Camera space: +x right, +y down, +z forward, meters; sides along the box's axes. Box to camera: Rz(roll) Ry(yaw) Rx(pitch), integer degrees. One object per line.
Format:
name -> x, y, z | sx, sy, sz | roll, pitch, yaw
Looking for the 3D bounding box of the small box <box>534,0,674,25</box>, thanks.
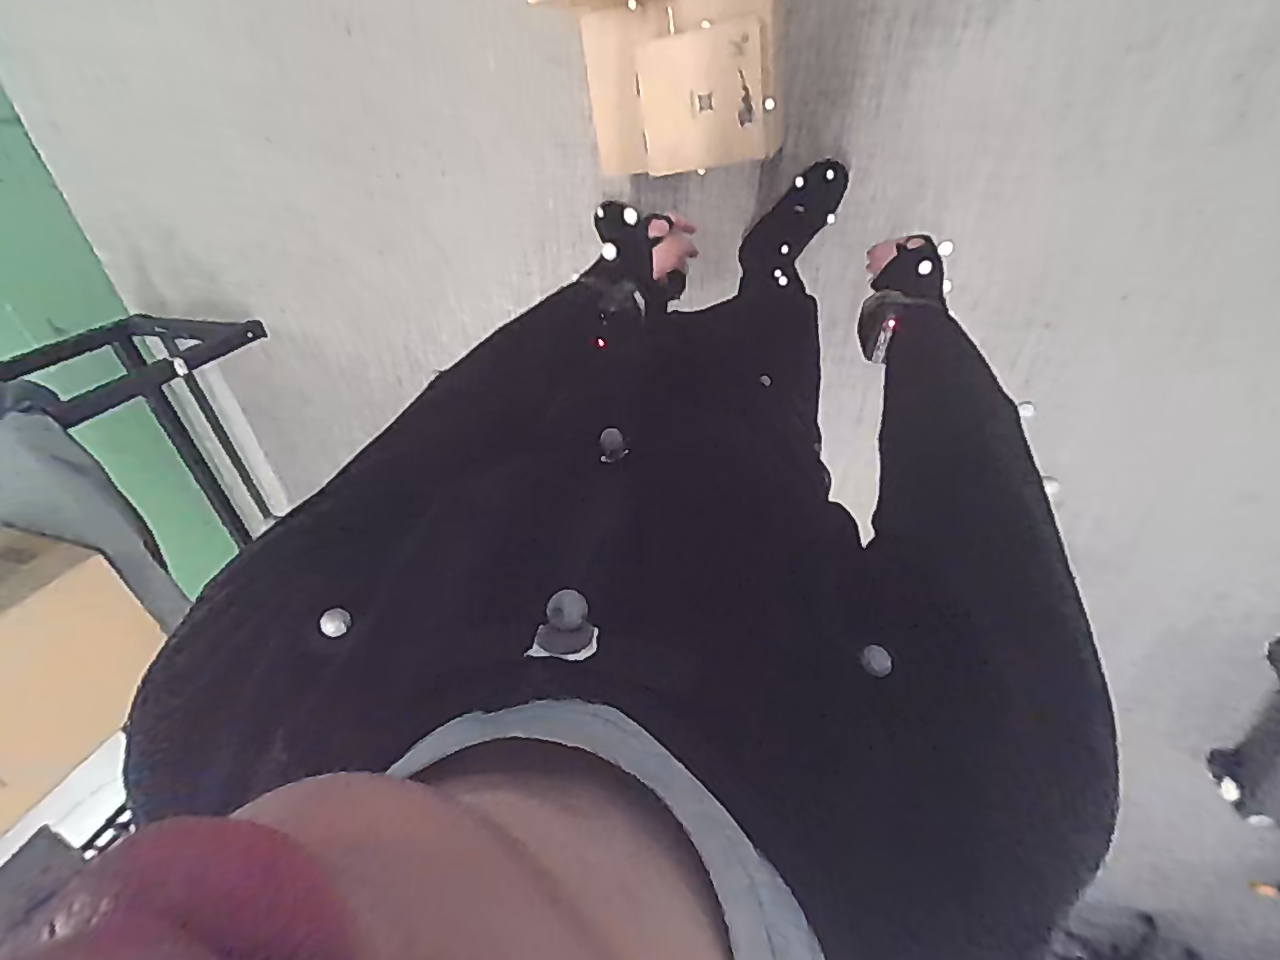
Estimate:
small box -> -0.047, -0.763, 0.758 | 0.179, 0.176, 0.168 | 7, 125, 20
